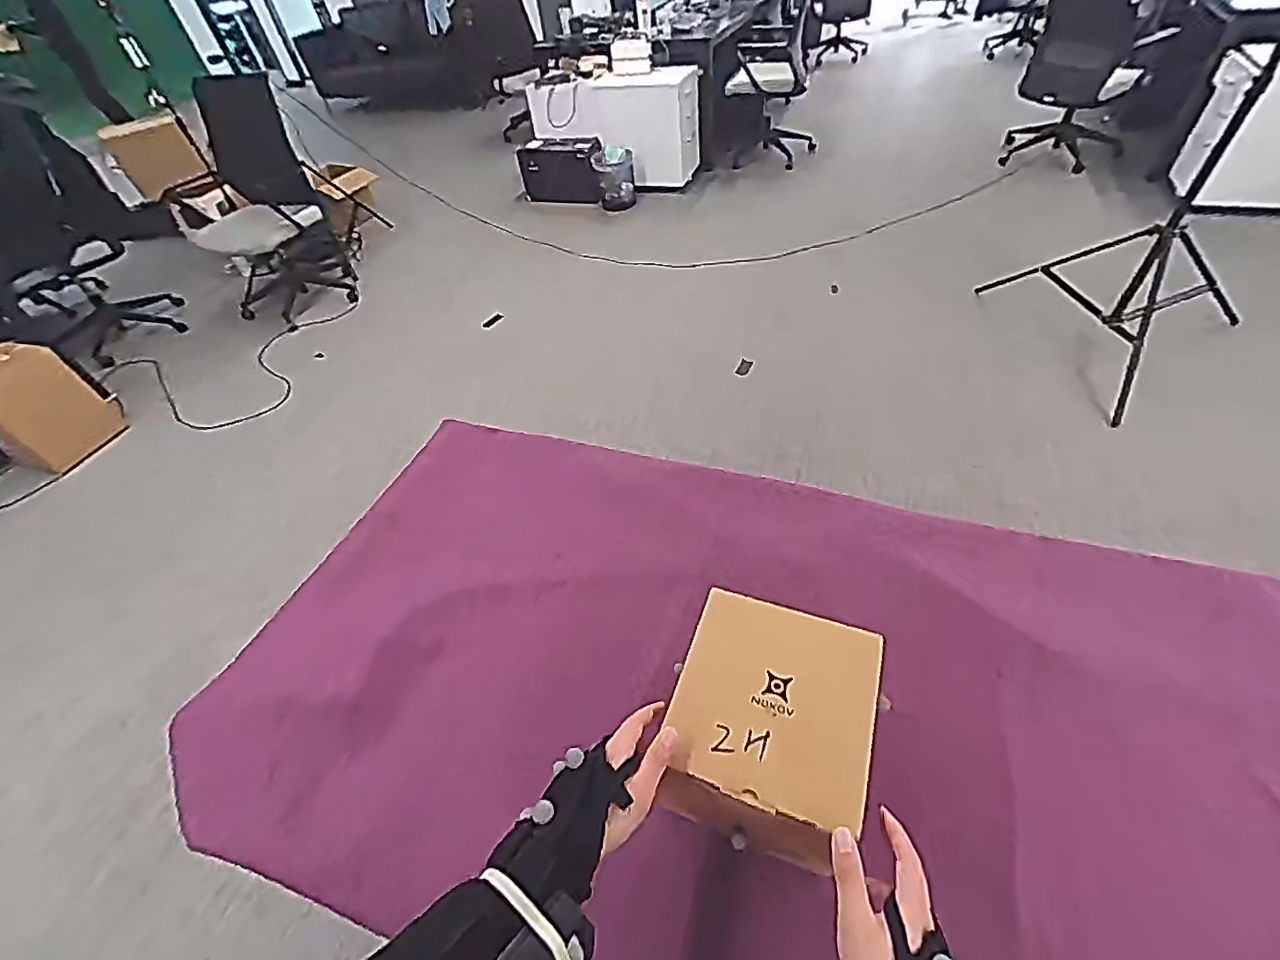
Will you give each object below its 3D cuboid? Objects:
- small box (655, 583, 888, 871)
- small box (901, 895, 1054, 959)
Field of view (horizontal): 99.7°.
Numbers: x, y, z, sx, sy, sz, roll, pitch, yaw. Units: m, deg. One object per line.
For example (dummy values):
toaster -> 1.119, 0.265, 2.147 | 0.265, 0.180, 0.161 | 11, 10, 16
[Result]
small box -> 0.124, 0.235, 0.520 | 0.168, 0.176, 0.179 | 13, 50, 20
small box -> 0.498, 0.771, 0.812 | 0.168, 0.176, 0.179 | 12, 50, 19
